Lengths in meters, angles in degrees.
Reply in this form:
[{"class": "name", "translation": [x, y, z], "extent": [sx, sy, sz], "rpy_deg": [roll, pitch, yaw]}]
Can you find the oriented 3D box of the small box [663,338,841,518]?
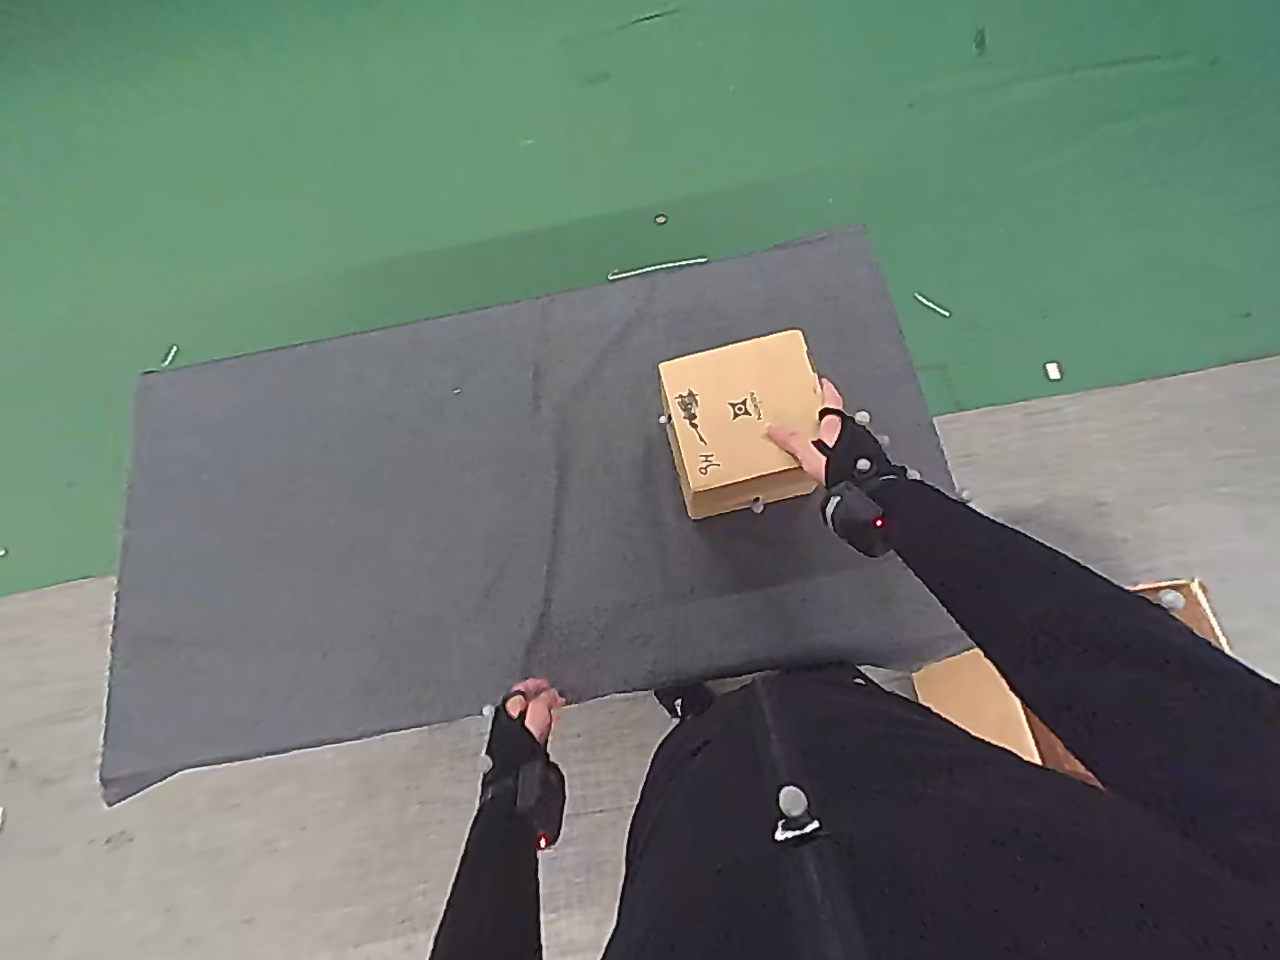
[{"class": "small box", "translation": [0.134, -0.058, 0.714], "extent": [0.179, 0.176, 0.168], "rpy_deg": [-16, 75, 1]}]
